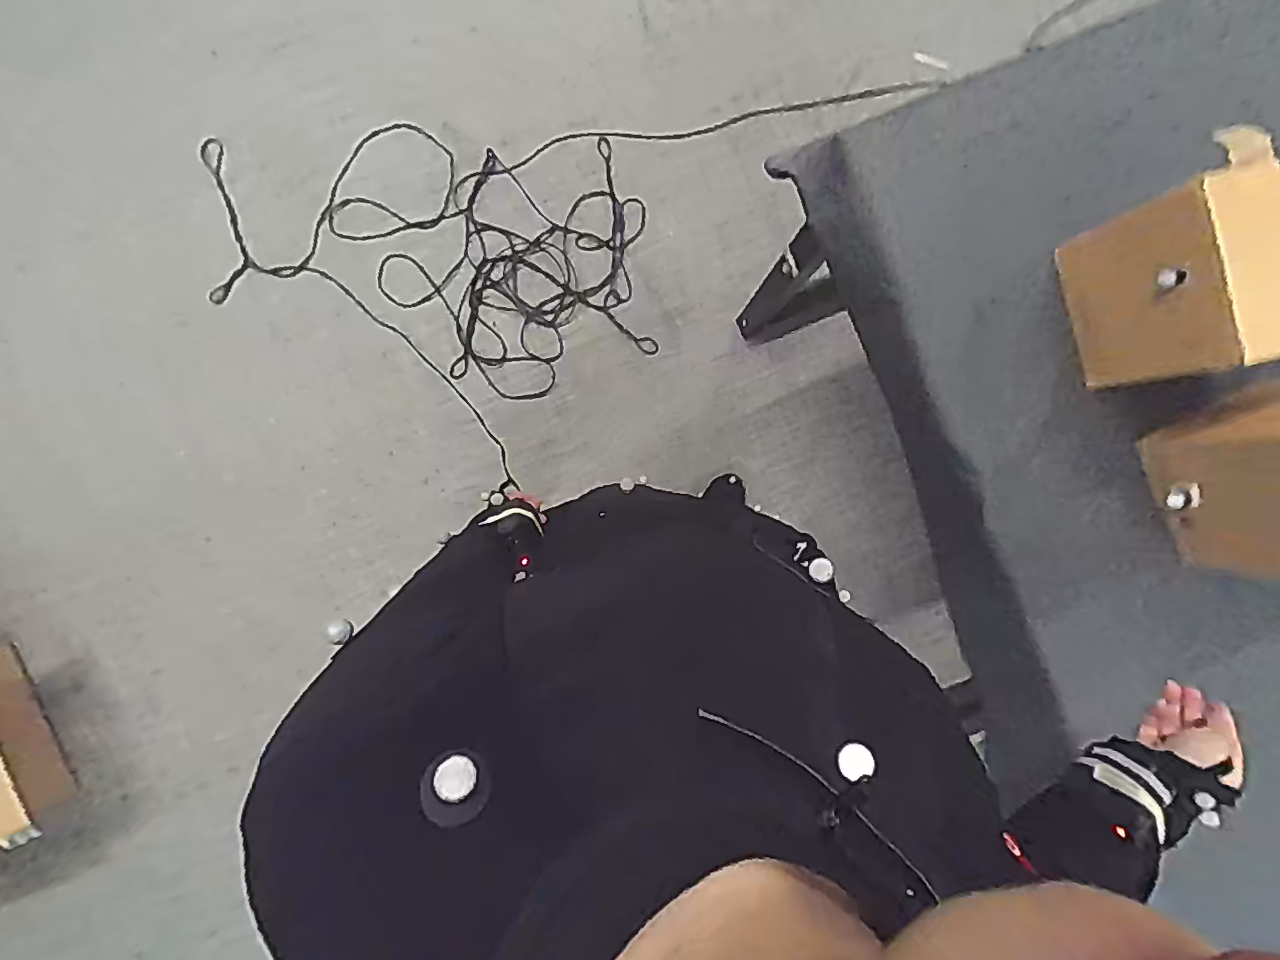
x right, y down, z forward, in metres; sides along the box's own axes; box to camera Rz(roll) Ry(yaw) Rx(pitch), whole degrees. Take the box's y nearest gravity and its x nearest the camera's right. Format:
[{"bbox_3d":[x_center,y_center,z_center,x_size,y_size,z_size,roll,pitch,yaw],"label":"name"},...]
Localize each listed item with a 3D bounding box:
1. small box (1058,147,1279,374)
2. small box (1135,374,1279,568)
[{"bbox_3d":[0.596,-0.219,0.569,0.168,0.176,0.179,-16,91,-2],"label":"small box"},{"bbox_3d":[0.706,-0.016,0.577,0.179,0.176,0.168,-27,90,-1],"label":"small box"}]
